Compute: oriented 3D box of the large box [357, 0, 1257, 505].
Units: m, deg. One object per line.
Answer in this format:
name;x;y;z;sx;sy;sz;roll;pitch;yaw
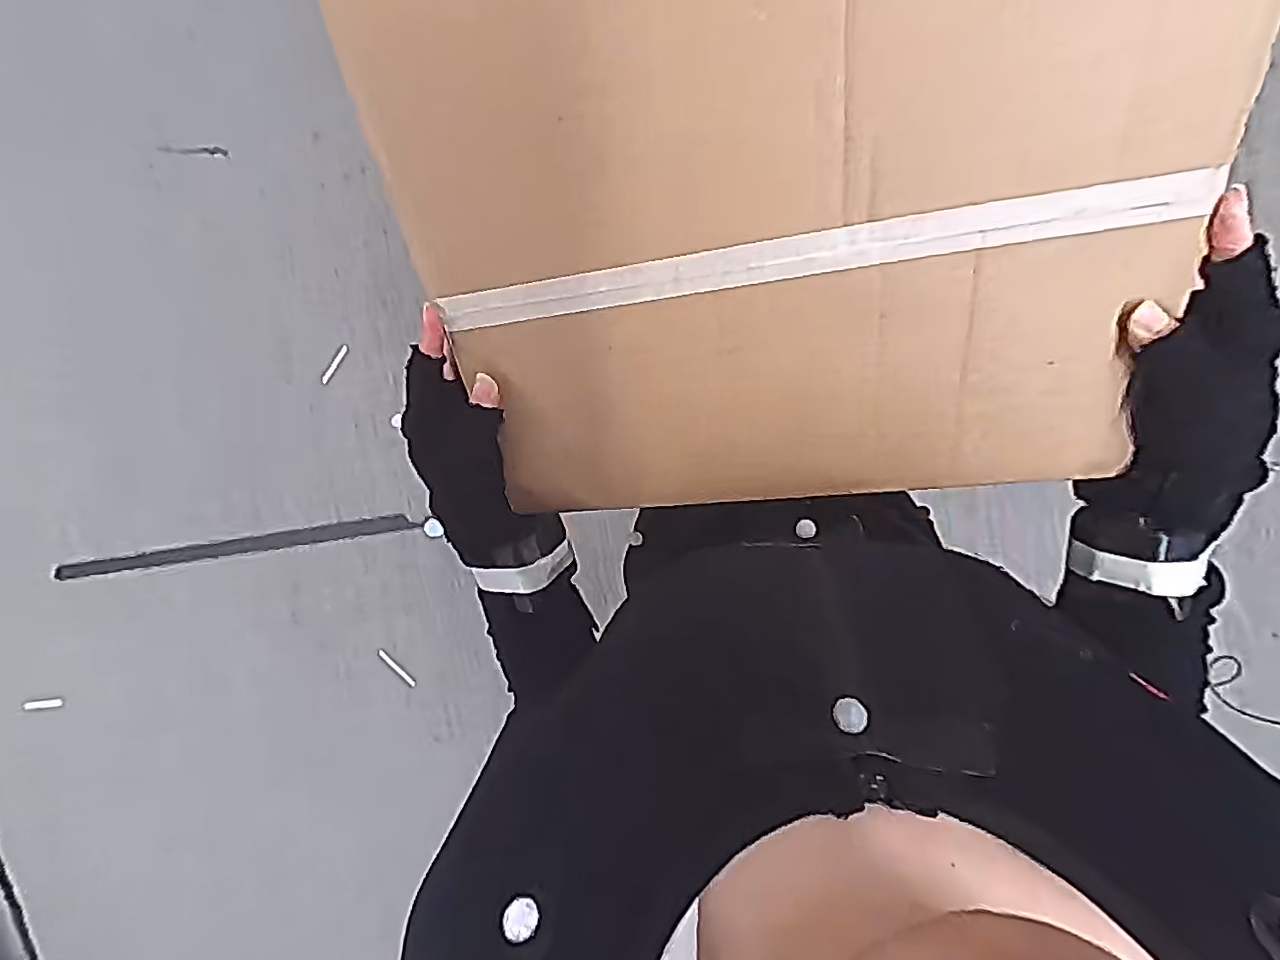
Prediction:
large box;0.093;-0.203;0.428;0.408;0.320;0.320;-4;123;12
